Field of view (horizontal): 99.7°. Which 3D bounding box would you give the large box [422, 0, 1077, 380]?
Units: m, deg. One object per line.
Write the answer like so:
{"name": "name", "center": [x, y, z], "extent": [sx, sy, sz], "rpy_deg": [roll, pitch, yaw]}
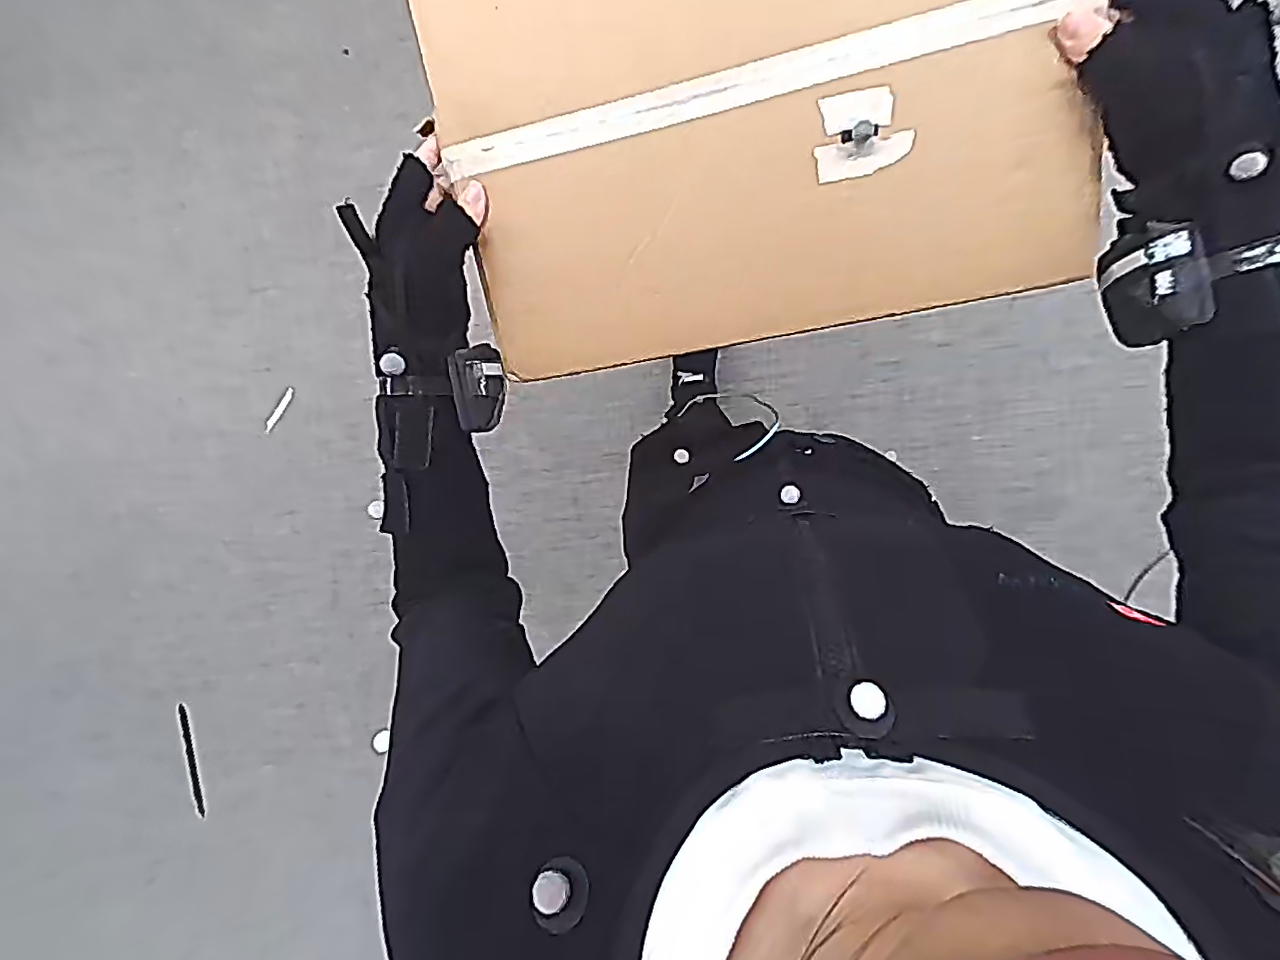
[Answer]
{"name": "large box", "center": [0.084, -0.297, 0.498], "extent": [0.408, 0.320, 0.320], "rpy_deg": [-9, 106, 10]}
